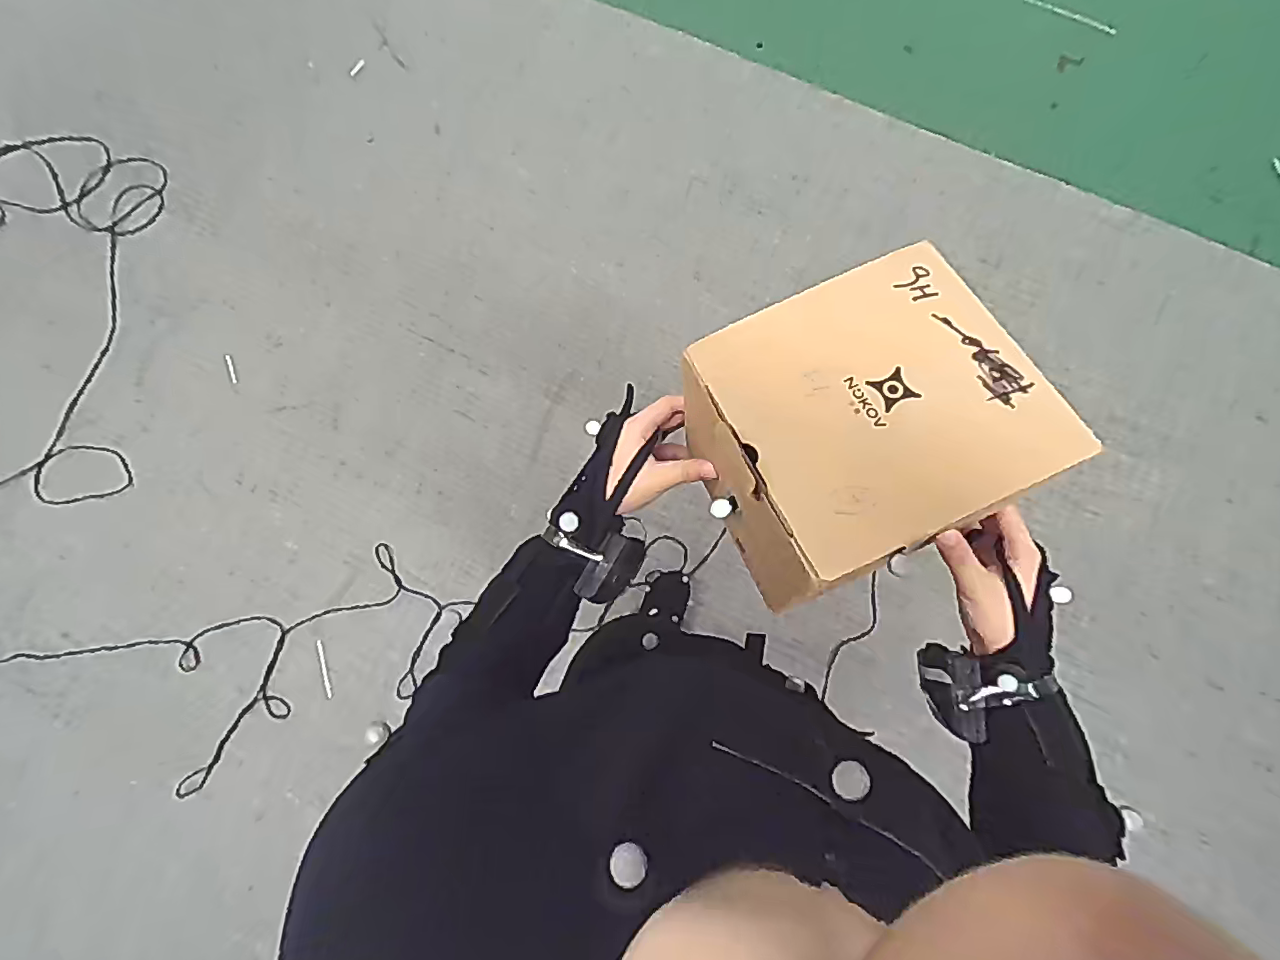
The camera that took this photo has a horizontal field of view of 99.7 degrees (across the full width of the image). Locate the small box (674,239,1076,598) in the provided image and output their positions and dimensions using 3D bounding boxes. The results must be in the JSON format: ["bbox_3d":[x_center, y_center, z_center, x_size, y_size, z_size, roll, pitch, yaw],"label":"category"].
[{"bbox_3d":[0.140,-0.027,0.395,0.179,0.176,0.168,-25,70,-3],"label":"small box"}]
